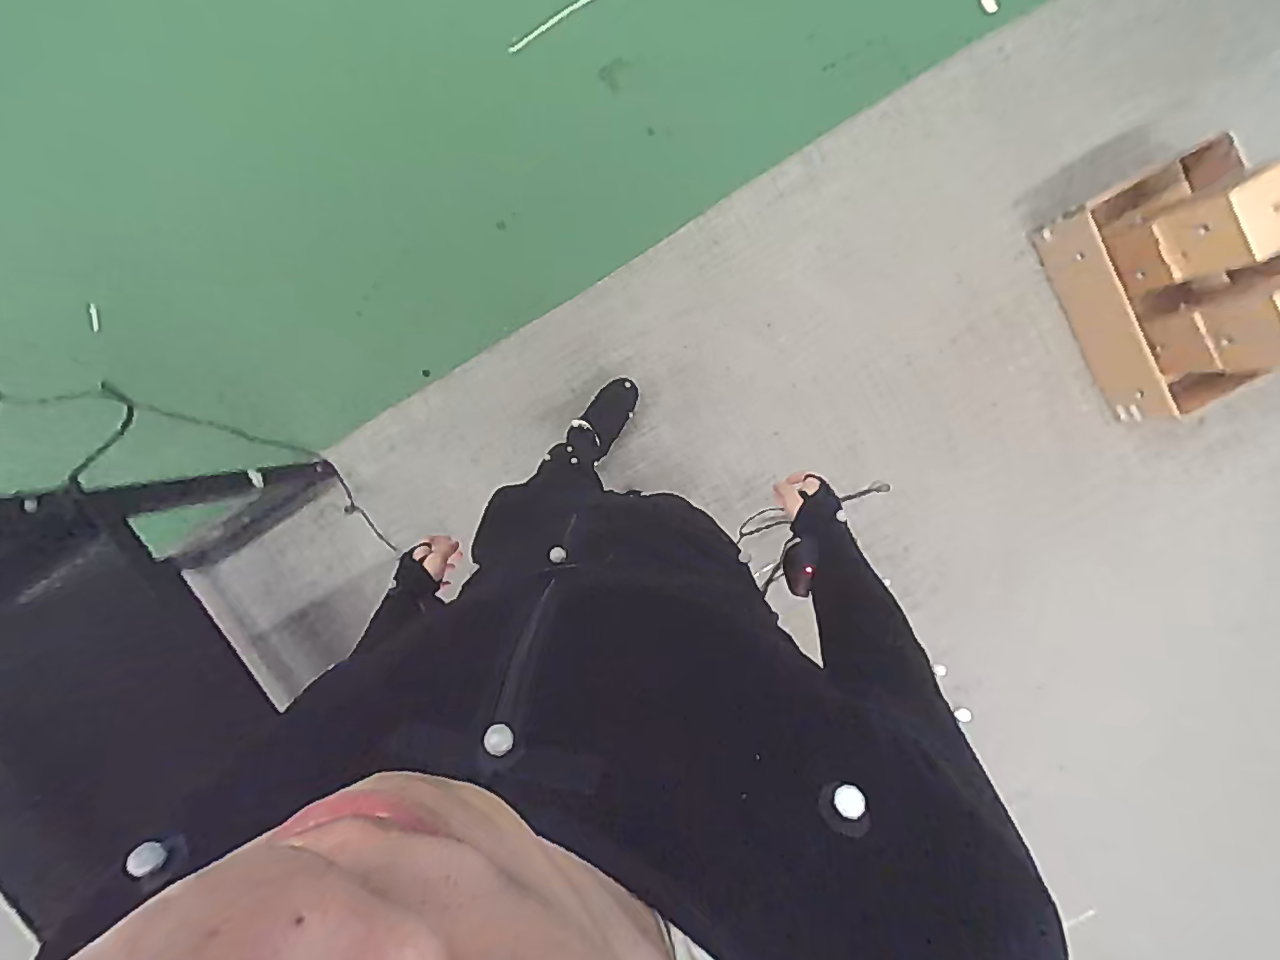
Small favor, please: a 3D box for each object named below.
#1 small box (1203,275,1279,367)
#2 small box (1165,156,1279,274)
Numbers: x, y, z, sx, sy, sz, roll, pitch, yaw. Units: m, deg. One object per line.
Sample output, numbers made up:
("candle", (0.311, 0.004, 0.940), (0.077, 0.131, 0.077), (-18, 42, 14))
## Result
("small box", (1.481, -0.371, 1.246), (0.168, 0.176, 0.179), (-27, 94, 5))
("small box", (1.361, -0.598, 1.229), (0.179, 0.176, 0.168), (-32, 96, 4))
